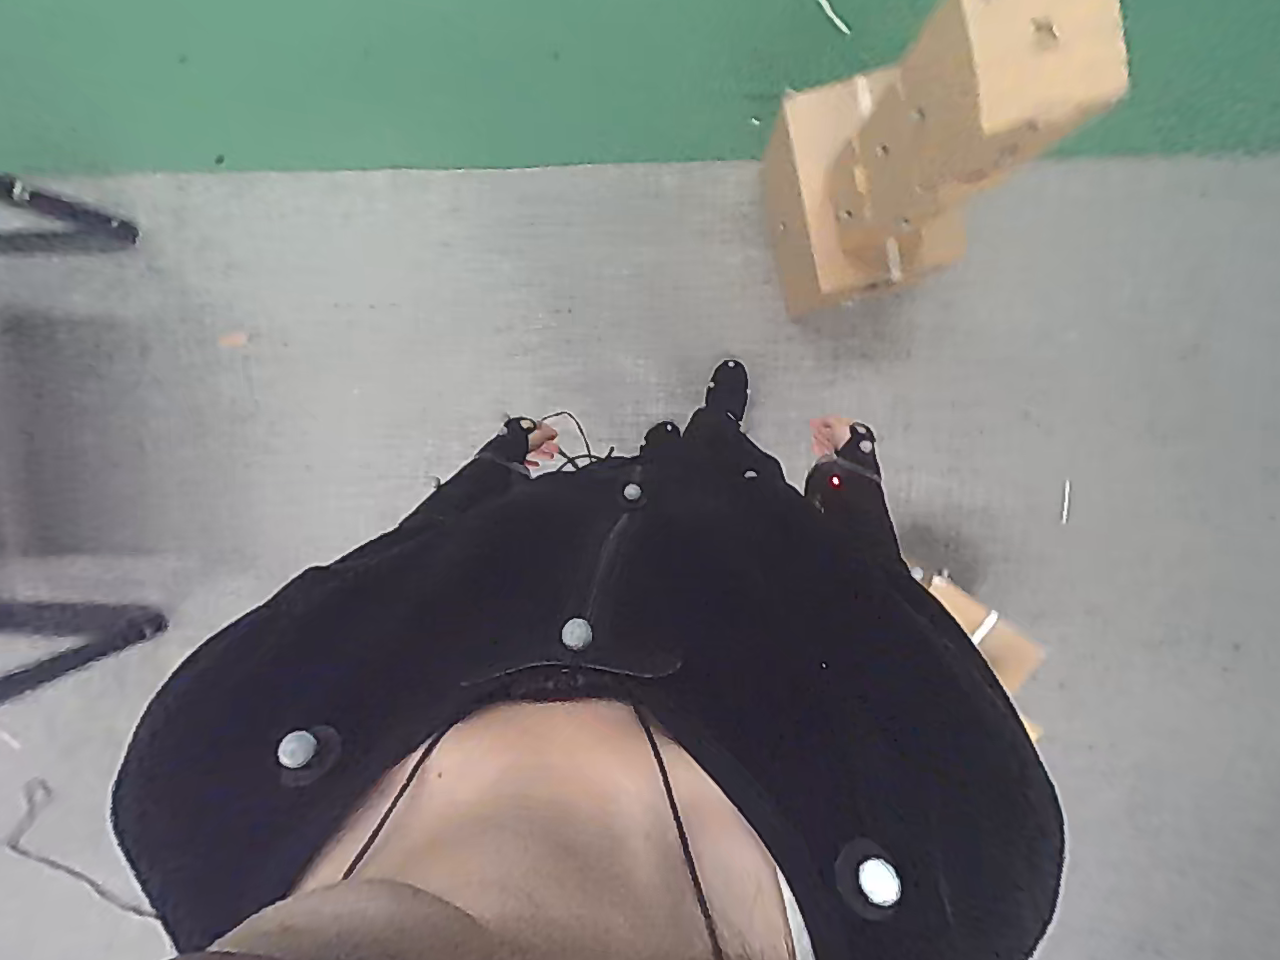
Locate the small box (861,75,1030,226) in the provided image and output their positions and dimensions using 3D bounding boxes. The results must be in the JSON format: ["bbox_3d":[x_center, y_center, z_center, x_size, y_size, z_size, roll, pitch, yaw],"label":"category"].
[{"bbox_3d":[0.474,-0.528,0.863,0.168,0.176,0.179,-13,96,4],"label":"small box"}]

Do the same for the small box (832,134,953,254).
[{"bbox_3d":[0.478,-0.549,1.025,0.179,0.176,0.168,-12,96,4],"label":"small box"}]

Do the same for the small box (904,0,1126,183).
[{"bbox_3d":[0.468,-0.512,0.699,0.168,0.176,0.179,-13,97,4],"label":"small box"}]

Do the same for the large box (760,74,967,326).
[{"bbox_3d":[0.493,-0.620,1.262,0.320,0.320,0.408,-13,94,3],"label":"large box"}]
